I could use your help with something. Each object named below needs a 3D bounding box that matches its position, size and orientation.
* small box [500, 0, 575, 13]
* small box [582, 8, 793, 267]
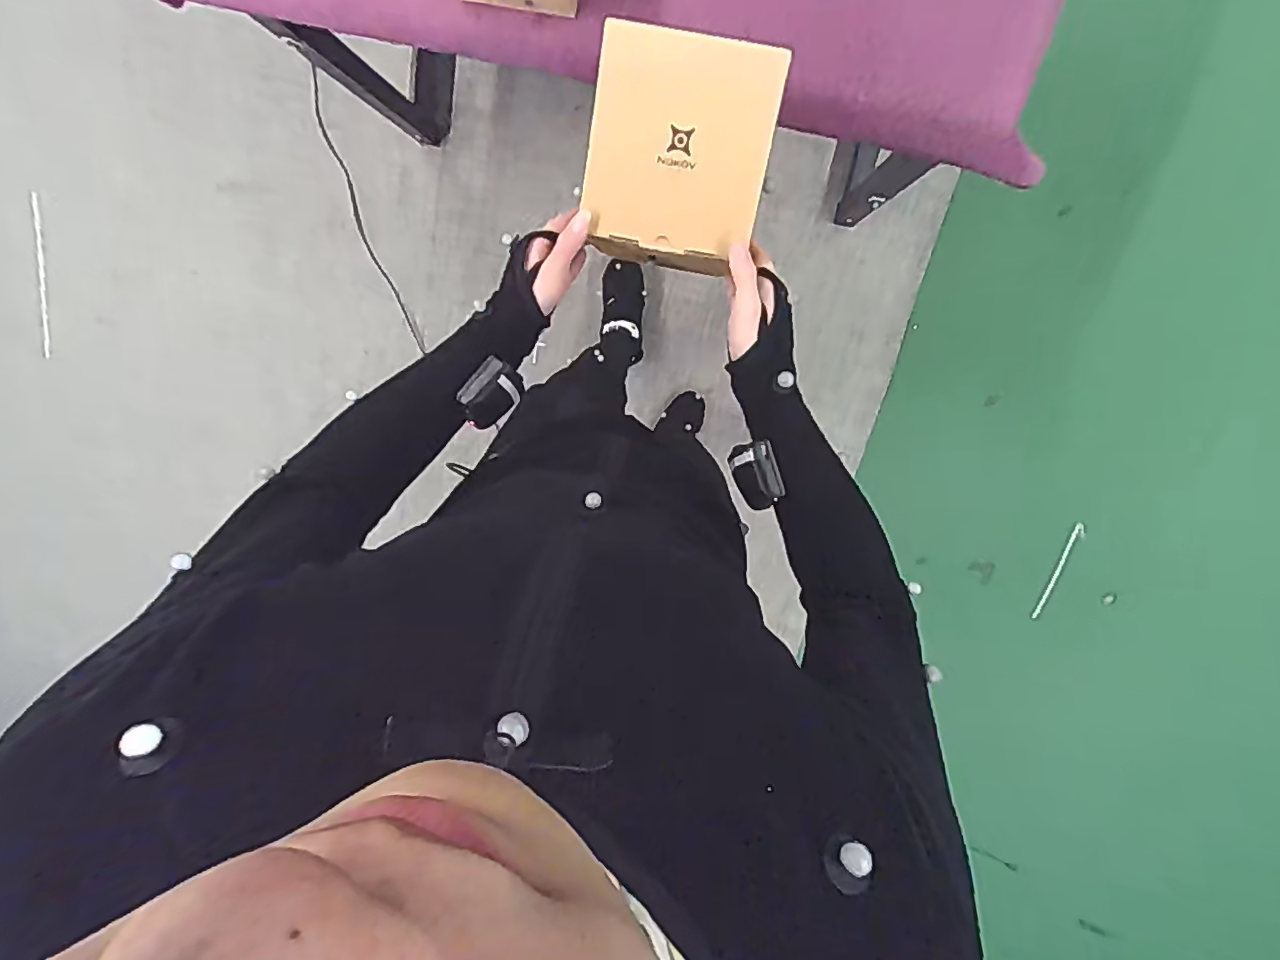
[{"bbox_3d":[-0.158,-0.707,0.631,0.168,0.176,0.179,11,104,2],"label":"small box"},{"bbox_3d":[0.042,-0.334,0.567,0.168,0.176,0.179,11,108,0],"label":"small box"}]
